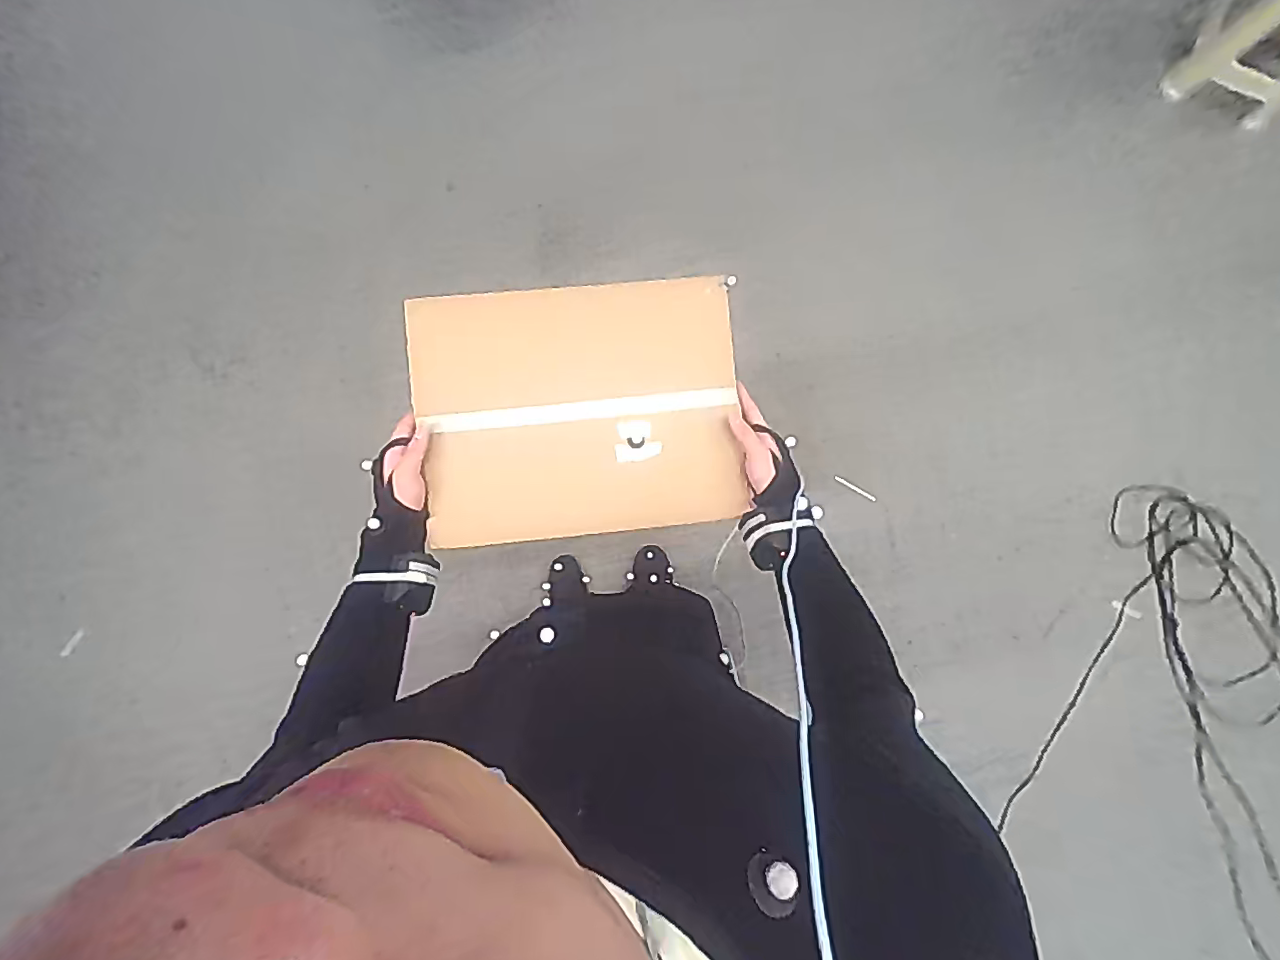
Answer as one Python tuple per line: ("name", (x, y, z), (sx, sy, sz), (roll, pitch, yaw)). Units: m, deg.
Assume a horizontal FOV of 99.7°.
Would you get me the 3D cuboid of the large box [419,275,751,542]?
("large box", (-0.077, -0.092, 0.838), (0.408, 0.320, 0.320), (-6, 90, -4))
